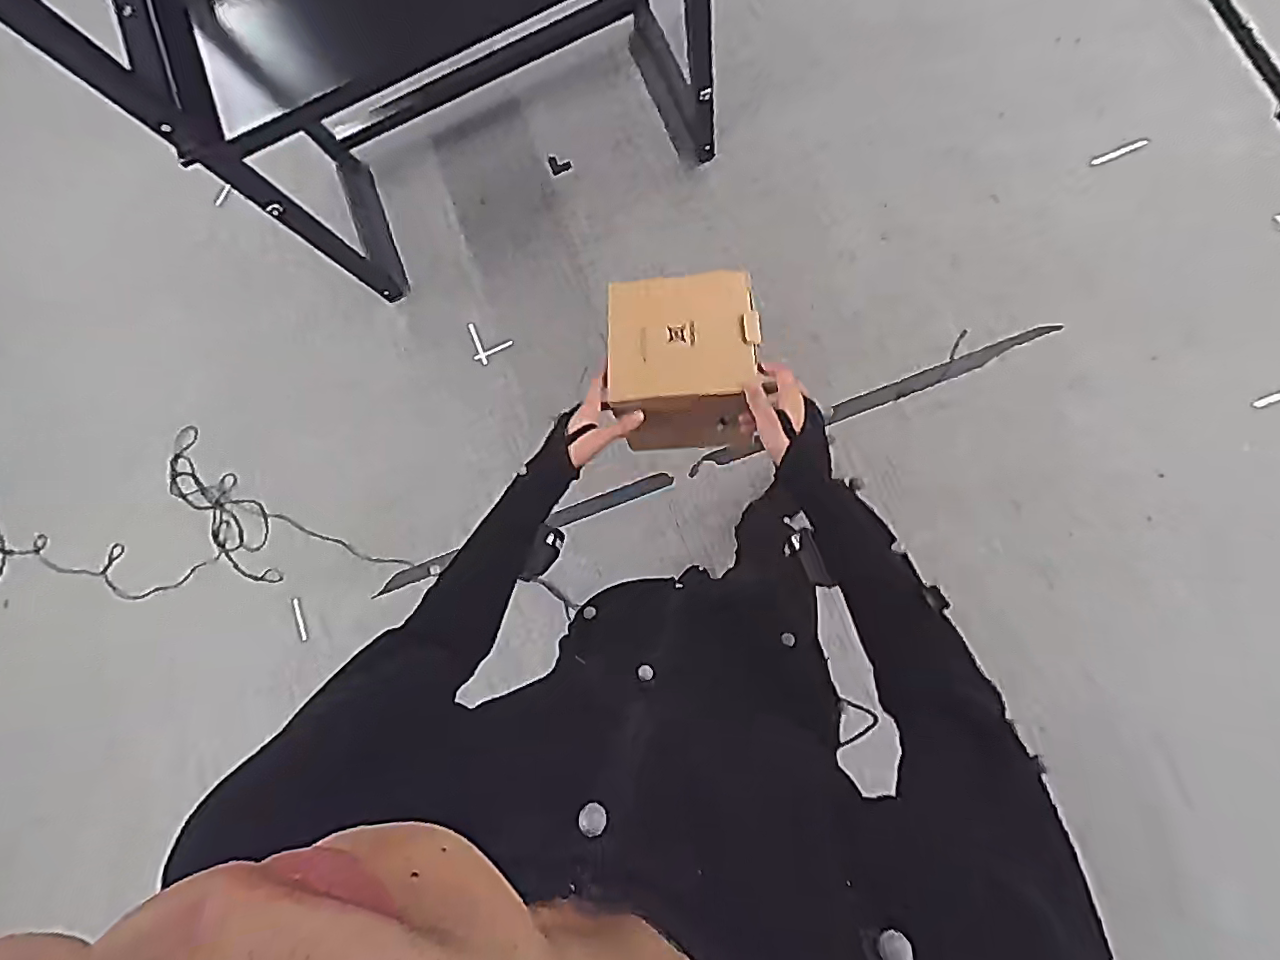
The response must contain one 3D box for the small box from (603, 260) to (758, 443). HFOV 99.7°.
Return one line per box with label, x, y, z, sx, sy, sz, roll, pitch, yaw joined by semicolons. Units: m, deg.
small box;0.054;-0.157;0.704;0.179;0.176;0.168;-3;70;7
